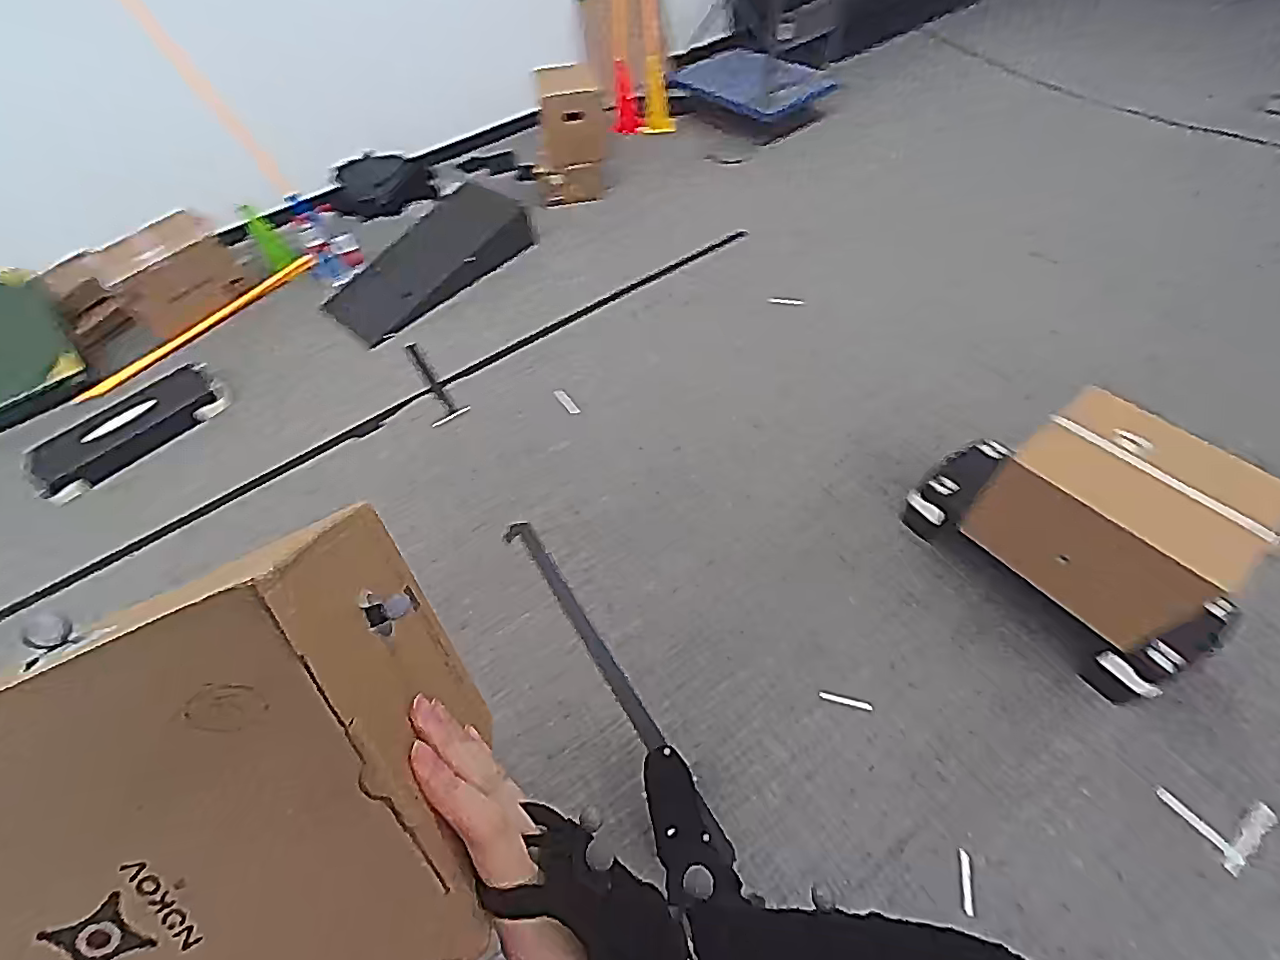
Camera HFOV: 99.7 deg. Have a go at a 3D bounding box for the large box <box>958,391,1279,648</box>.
[{"bbox_3d":[1.020,0.083,1.189,0.320,0.320,0.408,-34,56,-17],"label":"large box"}]
